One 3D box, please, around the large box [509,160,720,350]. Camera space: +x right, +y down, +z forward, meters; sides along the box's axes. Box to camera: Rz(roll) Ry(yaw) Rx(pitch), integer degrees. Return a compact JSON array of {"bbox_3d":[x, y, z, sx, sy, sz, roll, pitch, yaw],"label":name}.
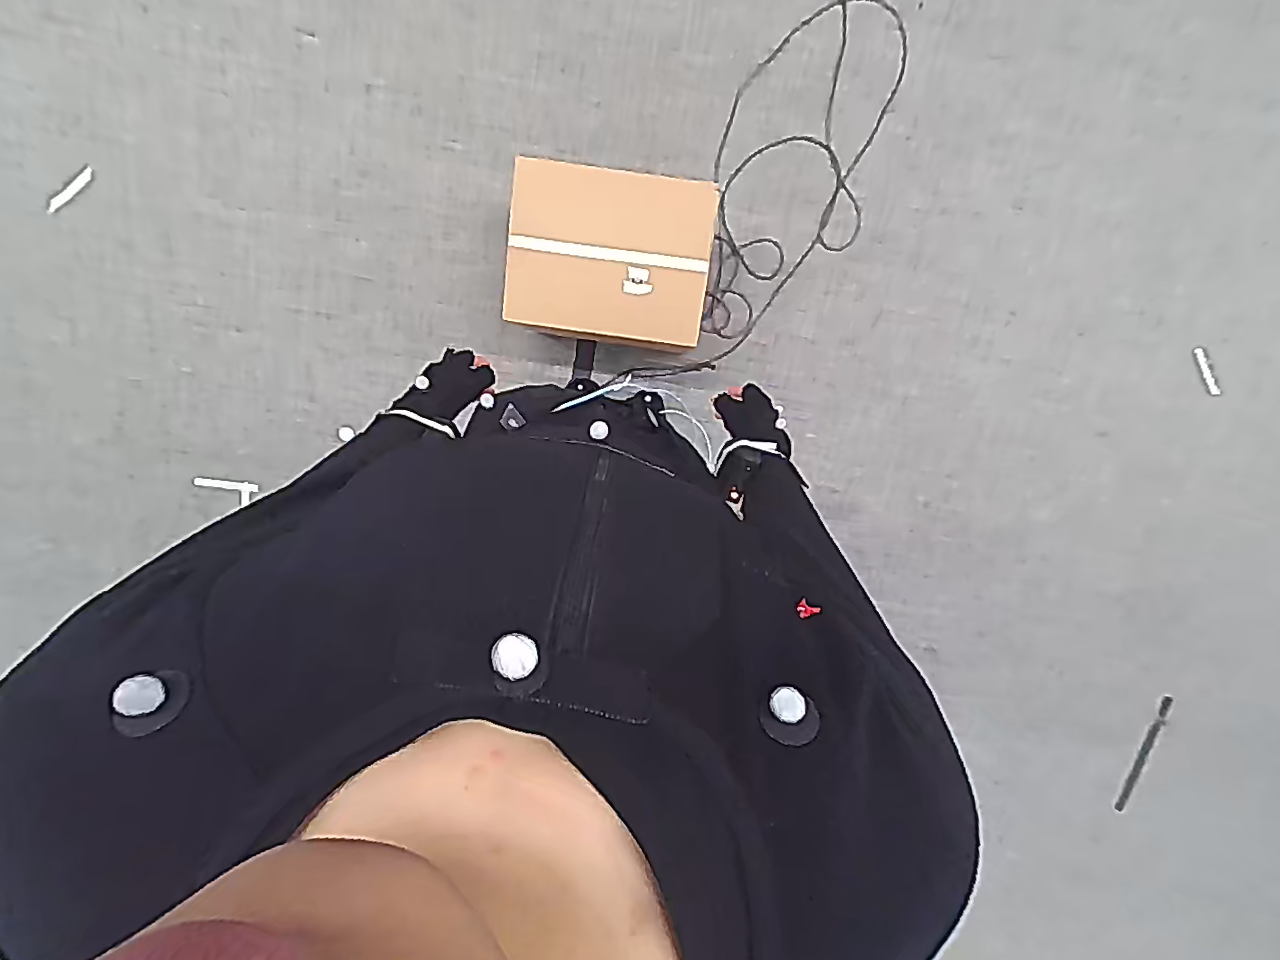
[{"bbox_3d":[-0.056,-0.483,1.235,0.408,0.320,0.320,8,102,-1],"label":"large box"}]
